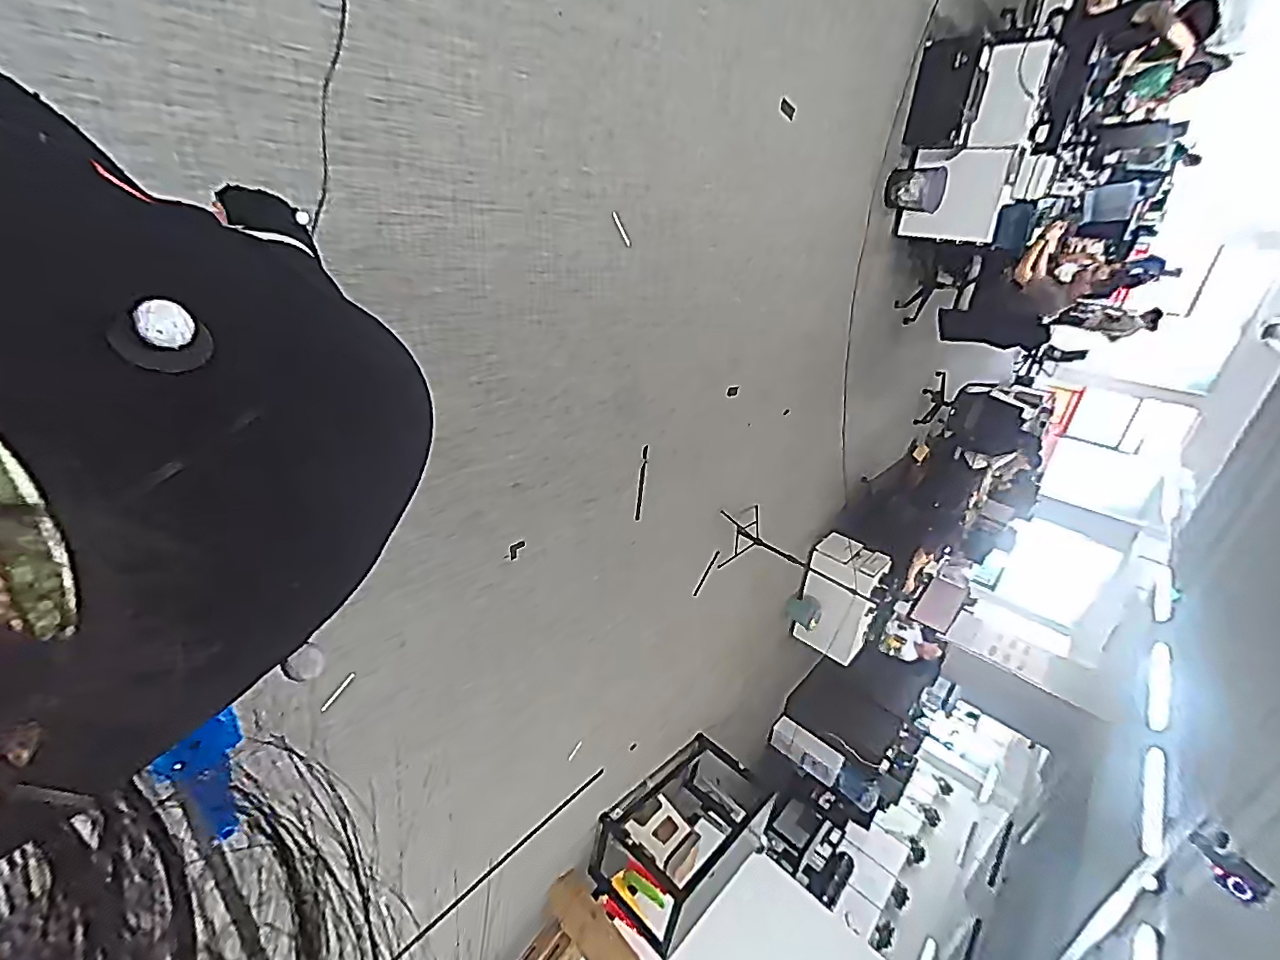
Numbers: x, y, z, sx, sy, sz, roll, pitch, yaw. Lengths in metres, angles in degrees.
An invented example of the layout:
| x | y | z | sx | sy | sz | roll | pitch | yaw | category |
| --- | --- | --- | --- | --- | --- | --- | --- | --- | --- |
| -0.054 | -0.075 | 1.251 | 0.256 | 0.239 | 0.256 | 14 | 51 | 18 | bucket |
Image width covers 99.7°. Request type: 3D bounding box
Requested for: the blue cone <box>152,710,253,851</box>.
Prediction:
| x | y | z | sx | sy | sz | roll | pitch | yaw | category |
| --- | --- | --- | --- | --- | --- | --- | --- | --- | --- |
| -1.068 | 0.787 | 1.375 | 0.193 | 0.380 | 0.192 | -25 | 128 | -43 | blue cone |
